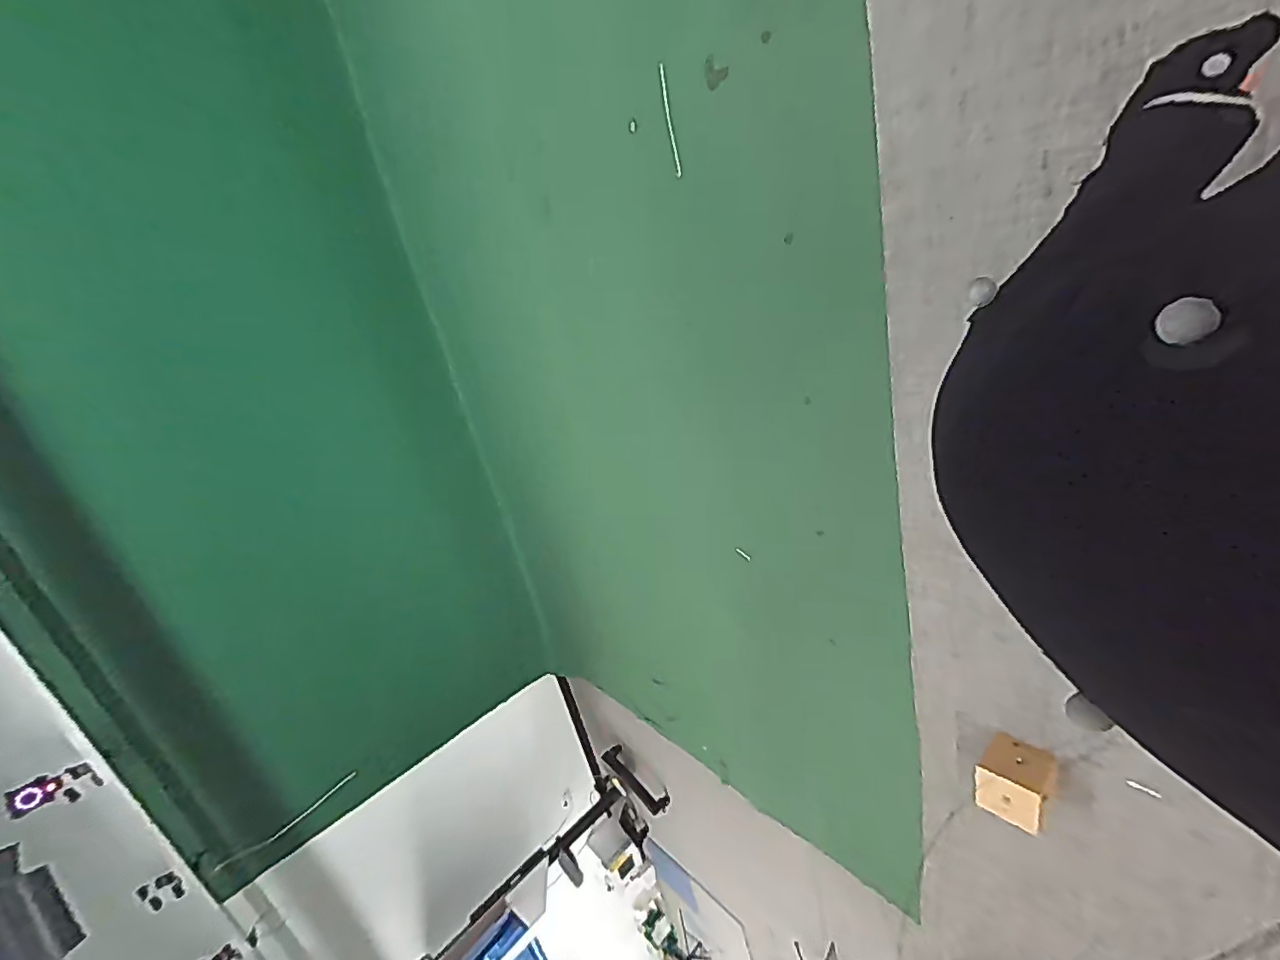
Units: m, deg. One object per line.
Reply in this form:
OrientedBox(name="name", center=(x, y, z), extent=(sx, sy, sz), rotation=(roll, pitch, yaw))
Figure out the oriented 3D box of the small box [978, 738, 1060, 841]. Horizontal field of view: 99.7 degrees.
OrientedBox(name="small box", center=(1.156, 0.932, 1.648), extent=(0.168, 0.176, 0.179), rotation=(13, 122, 50))
